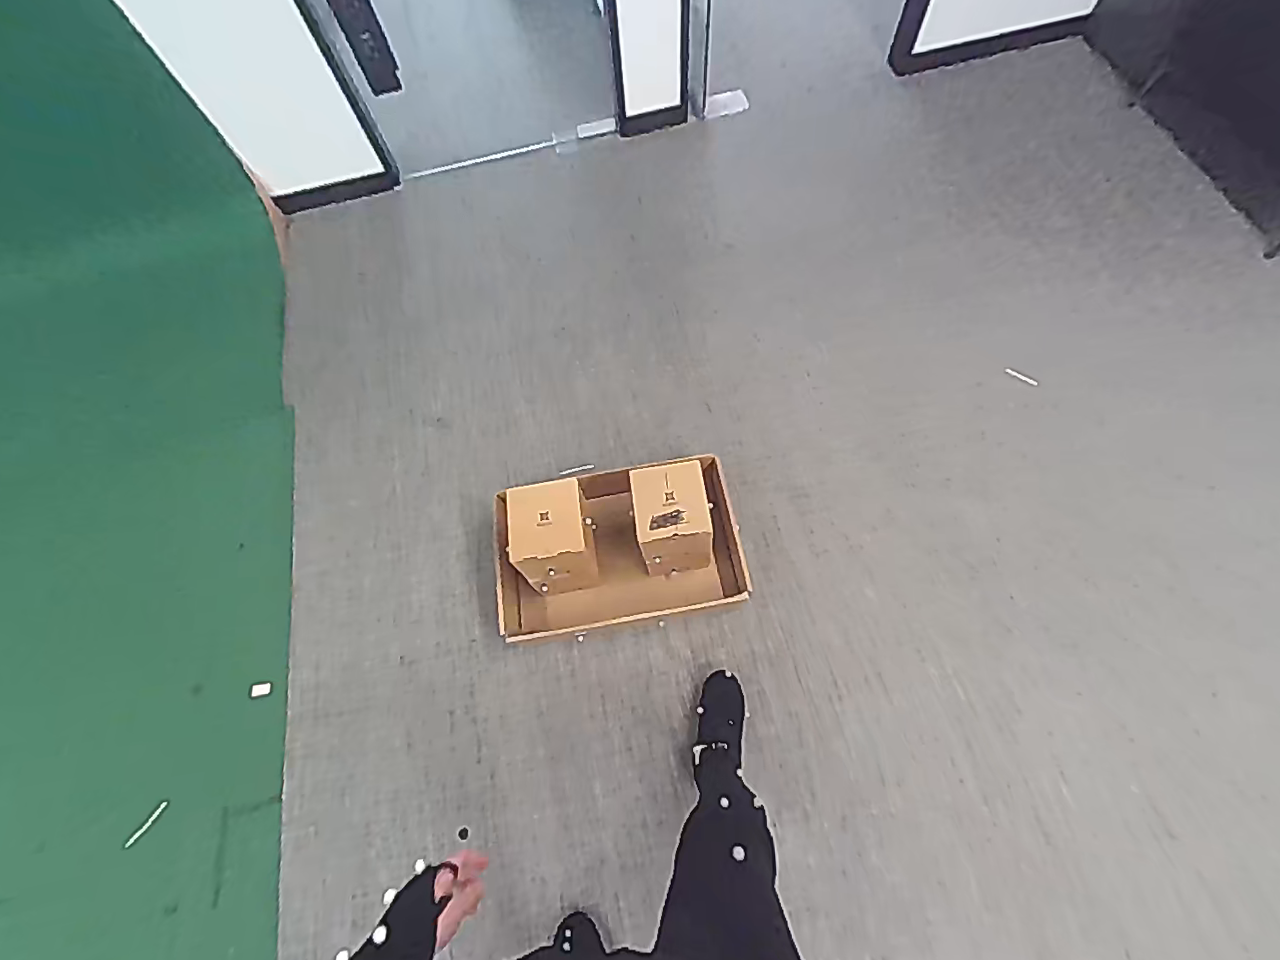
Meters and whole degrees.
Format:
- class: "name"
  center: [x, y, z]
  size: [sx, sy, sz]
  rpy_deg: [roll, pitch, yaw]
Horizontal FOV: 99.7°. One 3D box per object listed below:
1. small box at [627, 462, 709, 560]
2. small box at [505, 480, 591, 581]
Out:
- class: "small box"
  center: [0.068, 0.080, 1.262]
  size: [0.168, 0.176, 0.179]
  rpy_deg: [-8, 65, 1]
- class: "small box"
  center: [-0.212, 0.122, 1.263]
  size: [0.168, 0.176, 0.179]
  rpy_deg: [-9, 66, -2]
